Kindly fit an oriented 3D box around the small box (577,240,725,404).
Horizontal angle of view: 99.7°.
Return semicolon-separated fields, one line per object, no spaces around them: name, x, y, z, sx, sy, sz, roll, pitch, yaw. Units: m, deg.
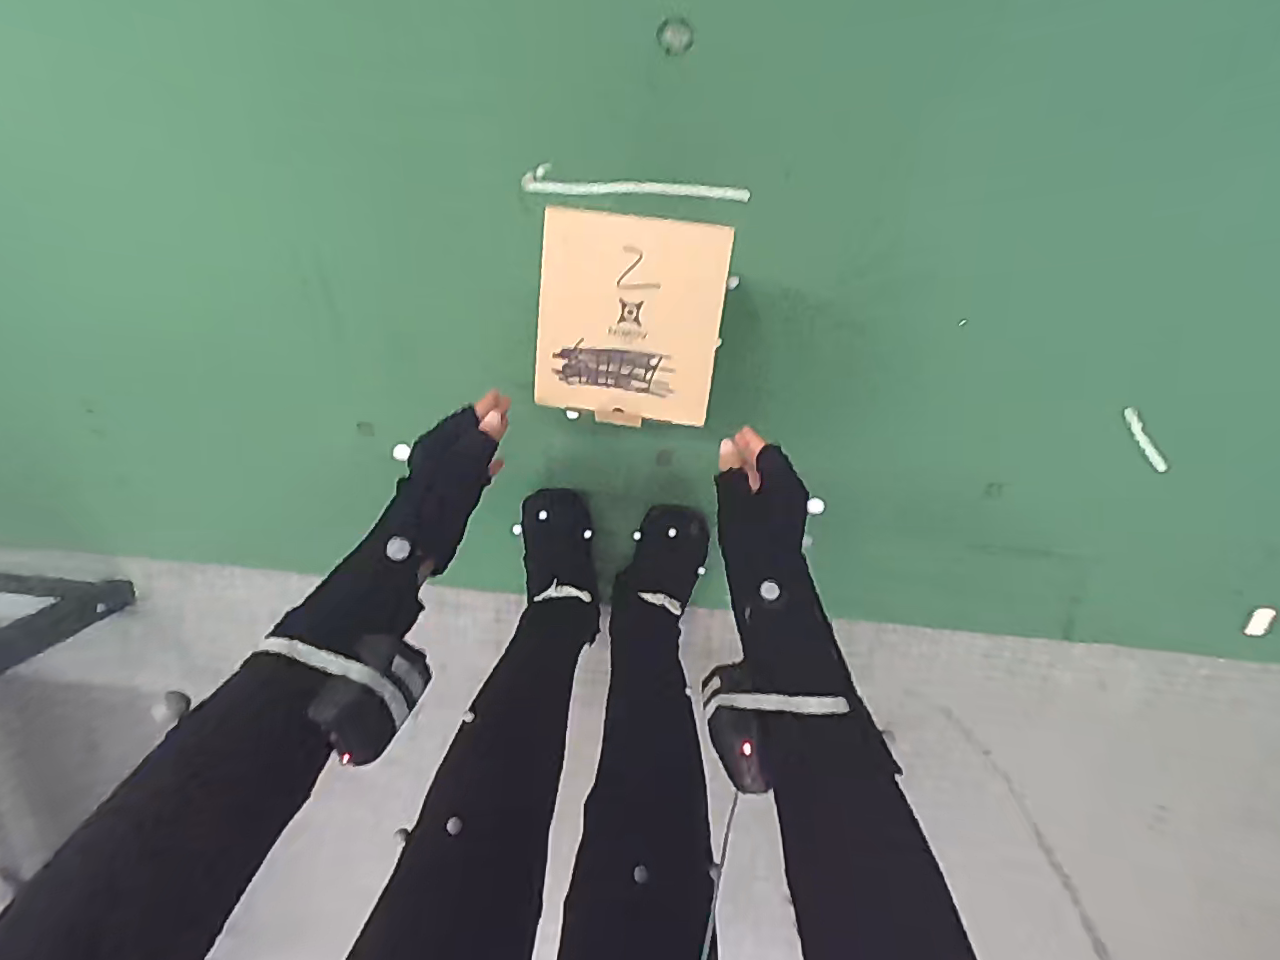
small box;0.017;-0.211;0.719;0.168;0.176;0.179;6;109;3
